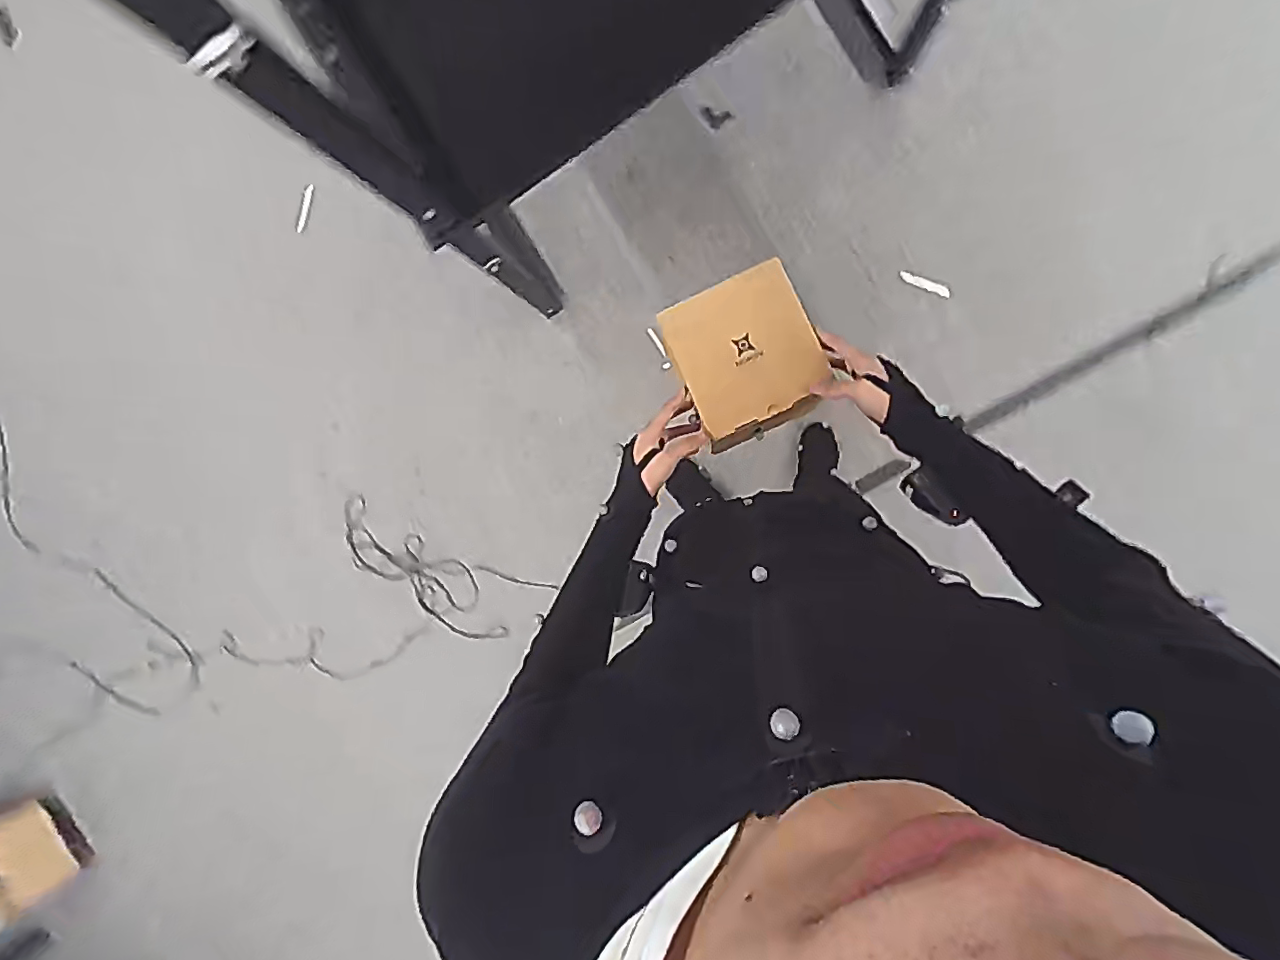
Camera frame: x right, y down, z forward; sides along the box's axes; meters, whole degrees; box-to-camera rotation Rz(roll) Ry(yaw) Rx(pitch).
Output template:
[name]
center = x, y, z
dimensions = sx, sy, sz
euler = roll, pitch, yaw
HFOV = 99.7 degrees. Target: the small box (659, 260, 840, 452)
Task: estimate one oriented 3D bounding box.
[small box]
center = 0.138, -0.152, 0.728
dimensions = 0.168, 0.176, 0.179
euler = -25, 85, 6
